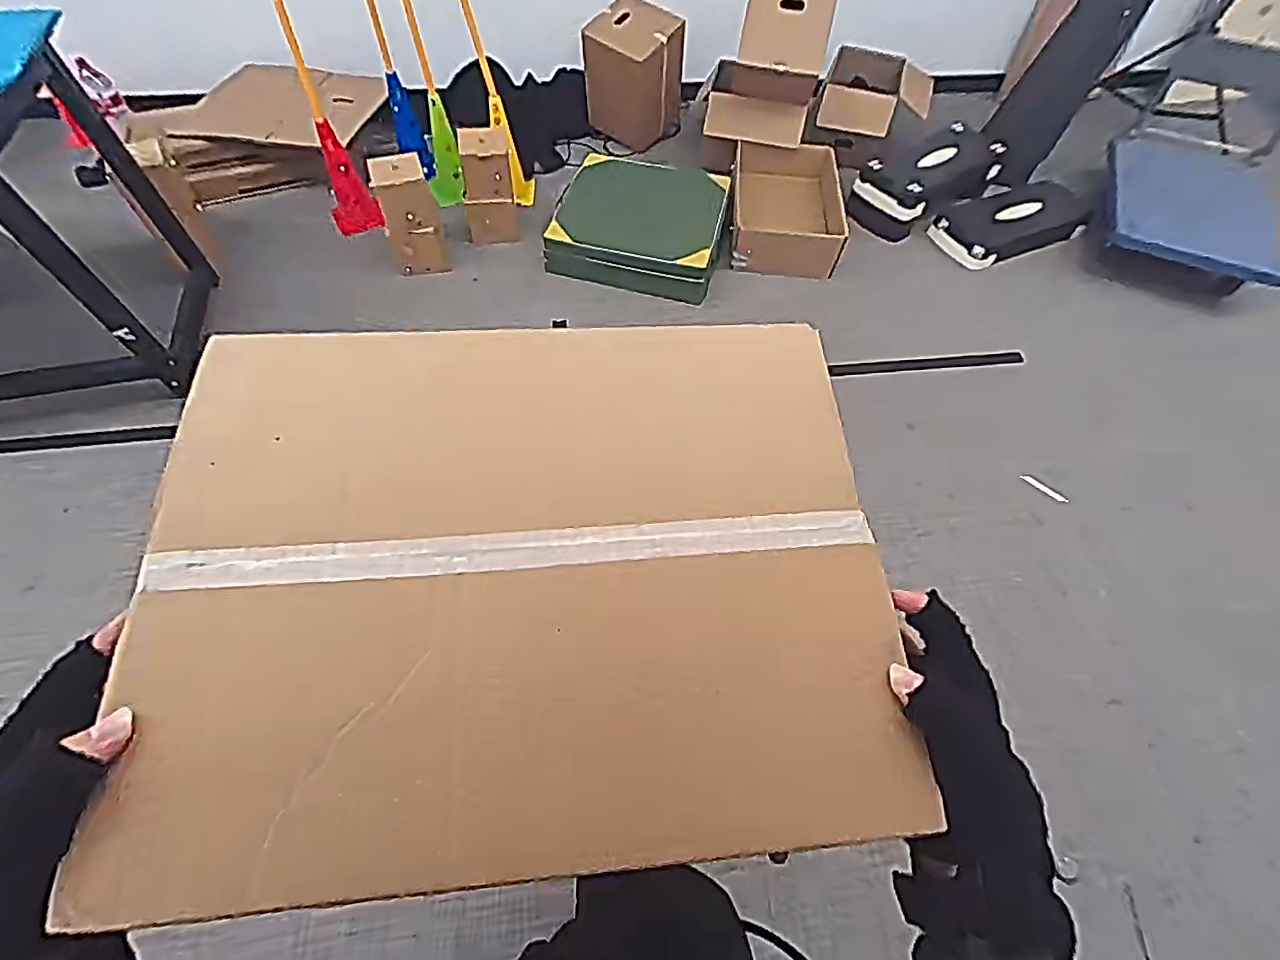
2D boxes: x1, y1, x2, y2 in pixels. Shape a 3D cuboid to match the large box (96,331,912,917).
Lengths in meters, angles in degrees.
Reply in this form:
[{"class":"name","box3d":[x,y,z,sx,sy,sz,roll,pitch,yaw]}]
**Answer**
[{"class":"large box","box3d":[-0.074,0.101,0.457,0.408,0.320,0.320,-3,66,-5]}]
